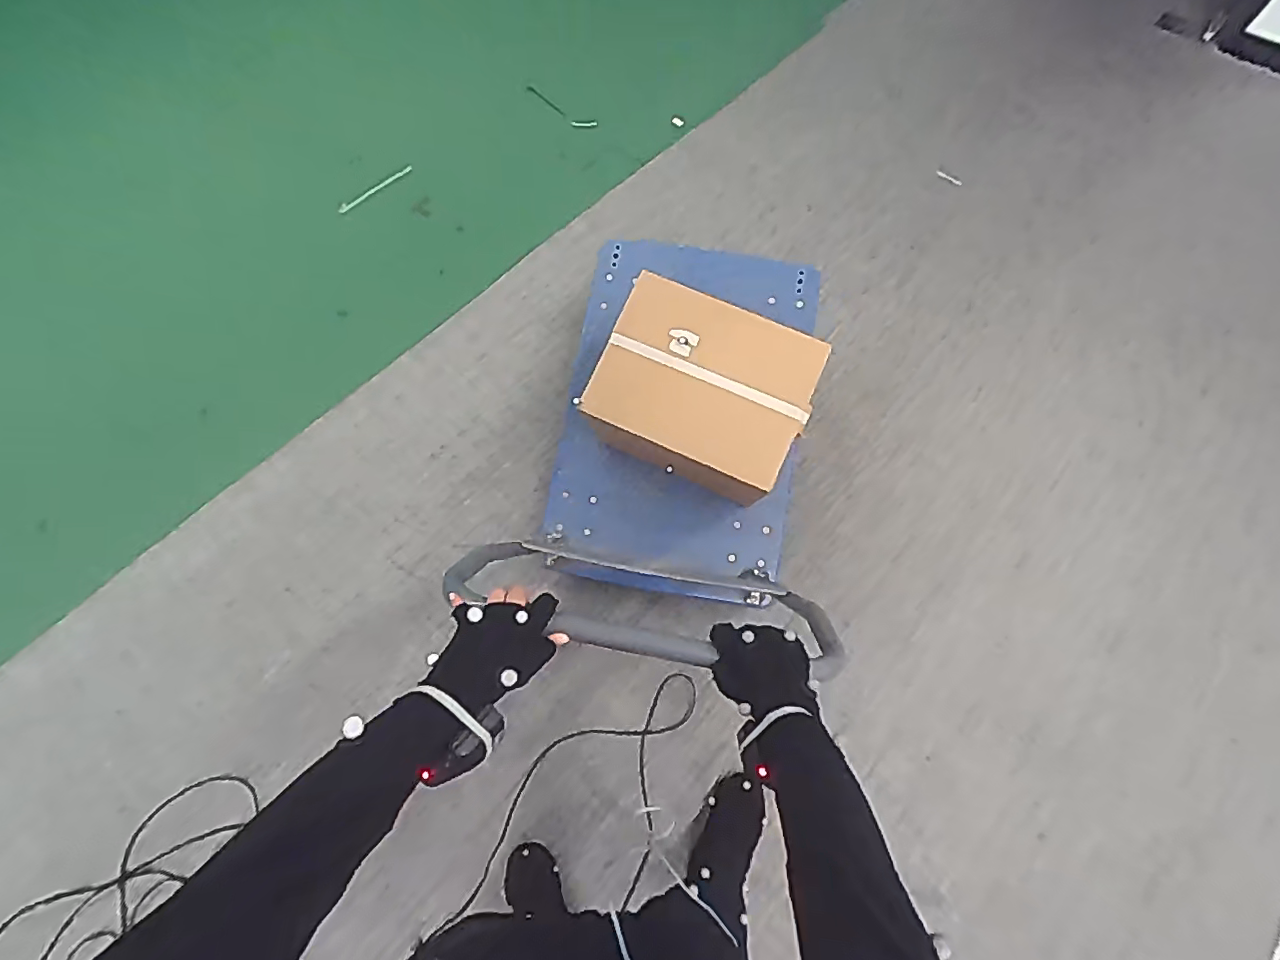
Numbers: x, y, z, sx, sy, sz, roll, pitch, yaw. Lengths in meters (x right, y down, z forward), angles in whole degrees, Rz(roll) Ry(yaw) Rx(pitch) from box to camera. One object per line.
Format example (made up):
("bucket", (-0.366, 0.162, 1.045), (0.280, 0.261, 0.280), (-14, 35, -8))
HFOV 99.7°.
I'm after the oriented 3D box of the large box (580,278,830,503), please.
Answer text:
("large box", (0.136, -0.171, 1.185), (0.408, 0.320, 0.320), (24, 84, 7))
